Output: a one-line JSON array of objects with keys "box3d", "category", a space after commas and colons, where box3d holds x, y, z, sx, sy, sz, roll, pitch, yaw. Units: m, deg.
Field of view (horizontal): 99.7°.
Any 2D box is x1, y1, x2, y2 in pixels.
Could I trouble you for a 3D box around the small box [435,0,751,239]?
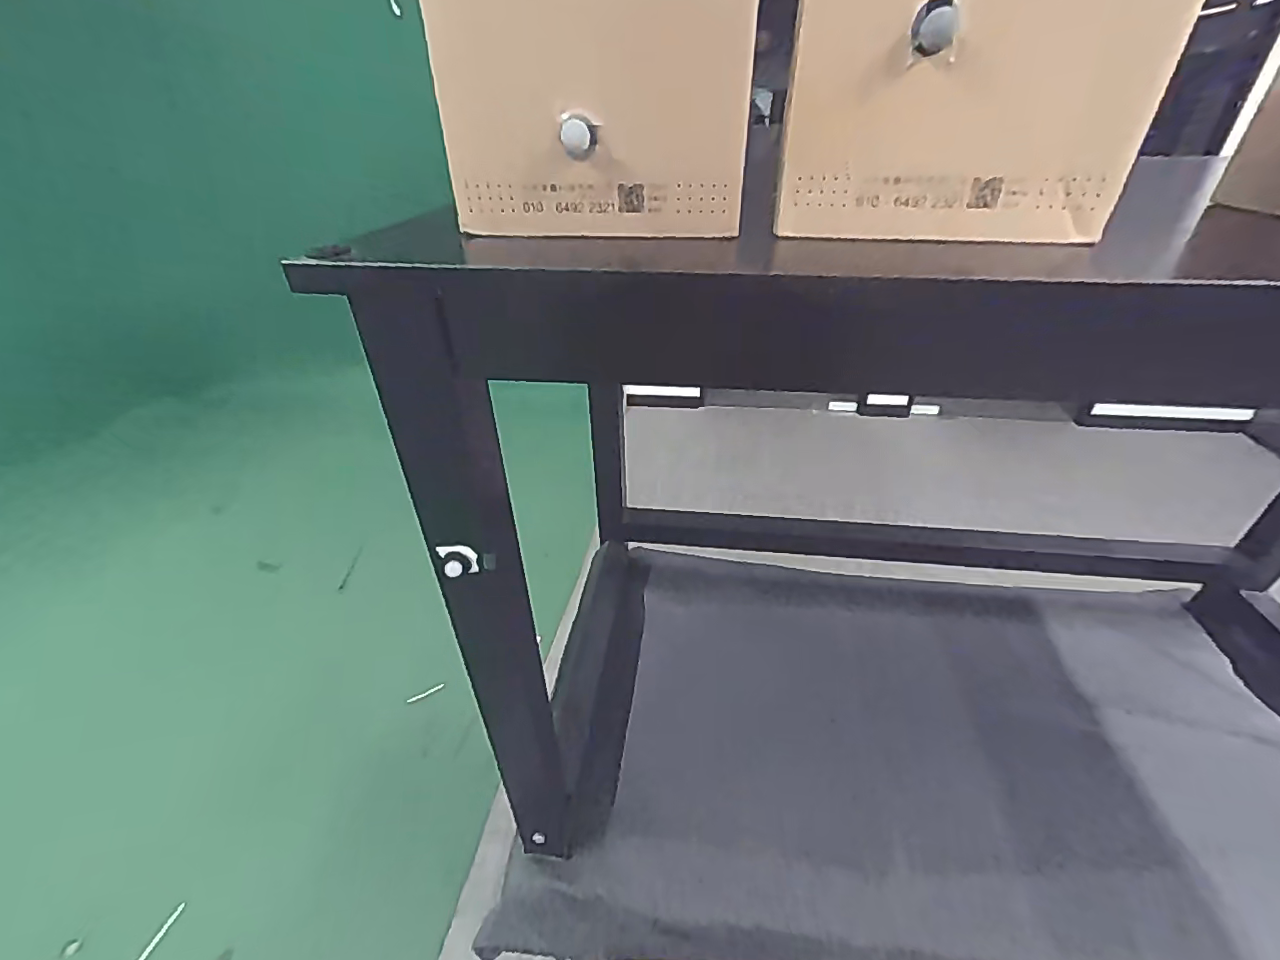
[{"box3d": [-0.019, -0.262, 0.343, 0.168, 0.176, 0.179, 3, 35, 6], "category": "small box"}]
